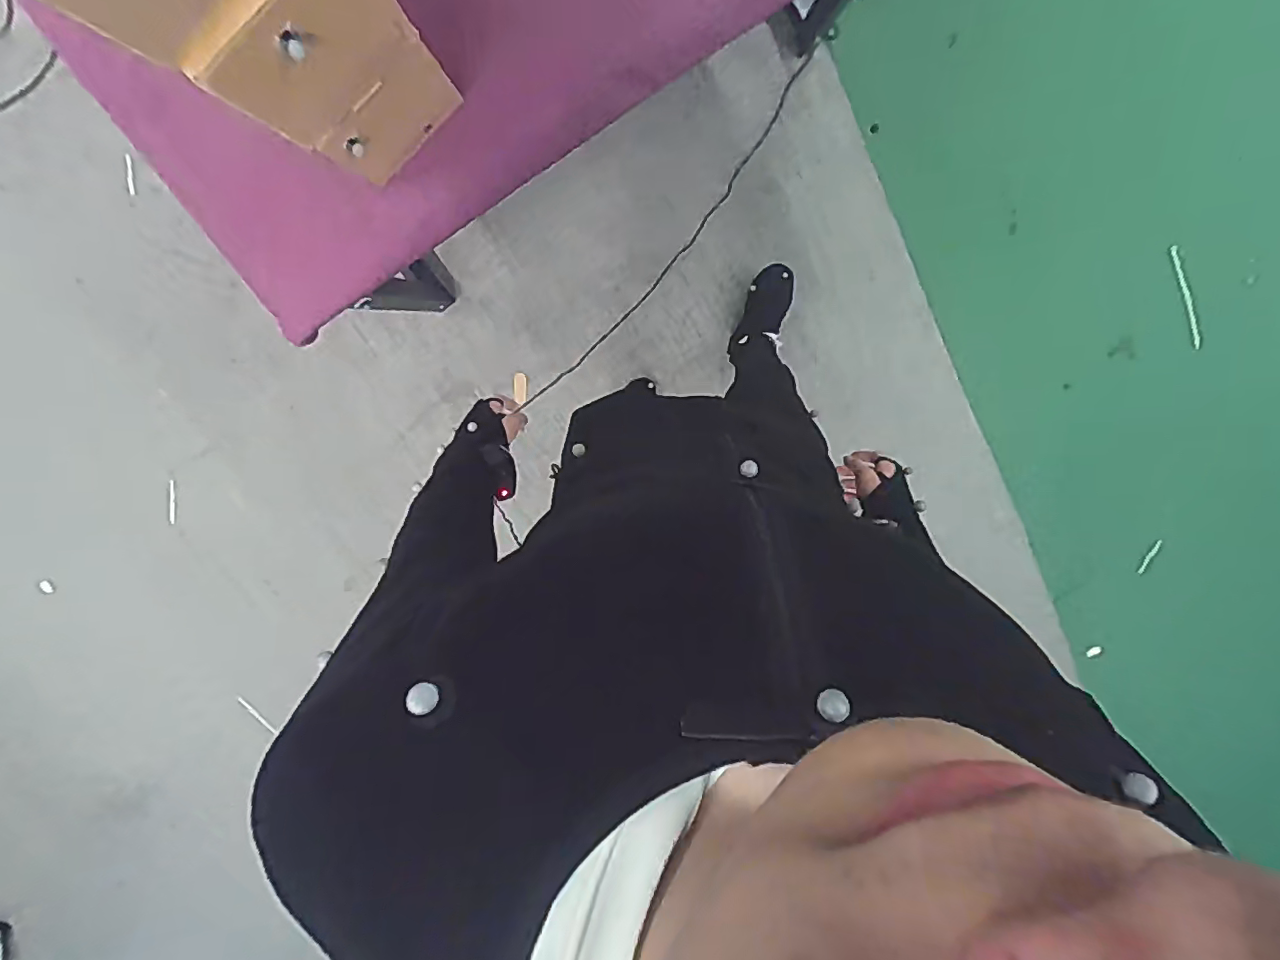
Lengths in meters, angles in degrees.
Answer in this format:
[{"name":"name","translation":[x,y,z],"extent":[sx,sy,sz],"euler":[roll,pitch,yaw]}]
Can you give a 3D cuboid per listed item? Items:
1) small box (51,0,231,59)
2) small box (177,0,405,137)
[{"name":"small box","translation":[-0.355,-0.419,0.325],"extent":[0.179,0.176,0.168],"euler":[-36,103,9]},{"name":"small box","translation":[-0.342,-0.458,0.485],"extent":[0.179,0.176,0.168],"euler":[-37,104,10]}]
